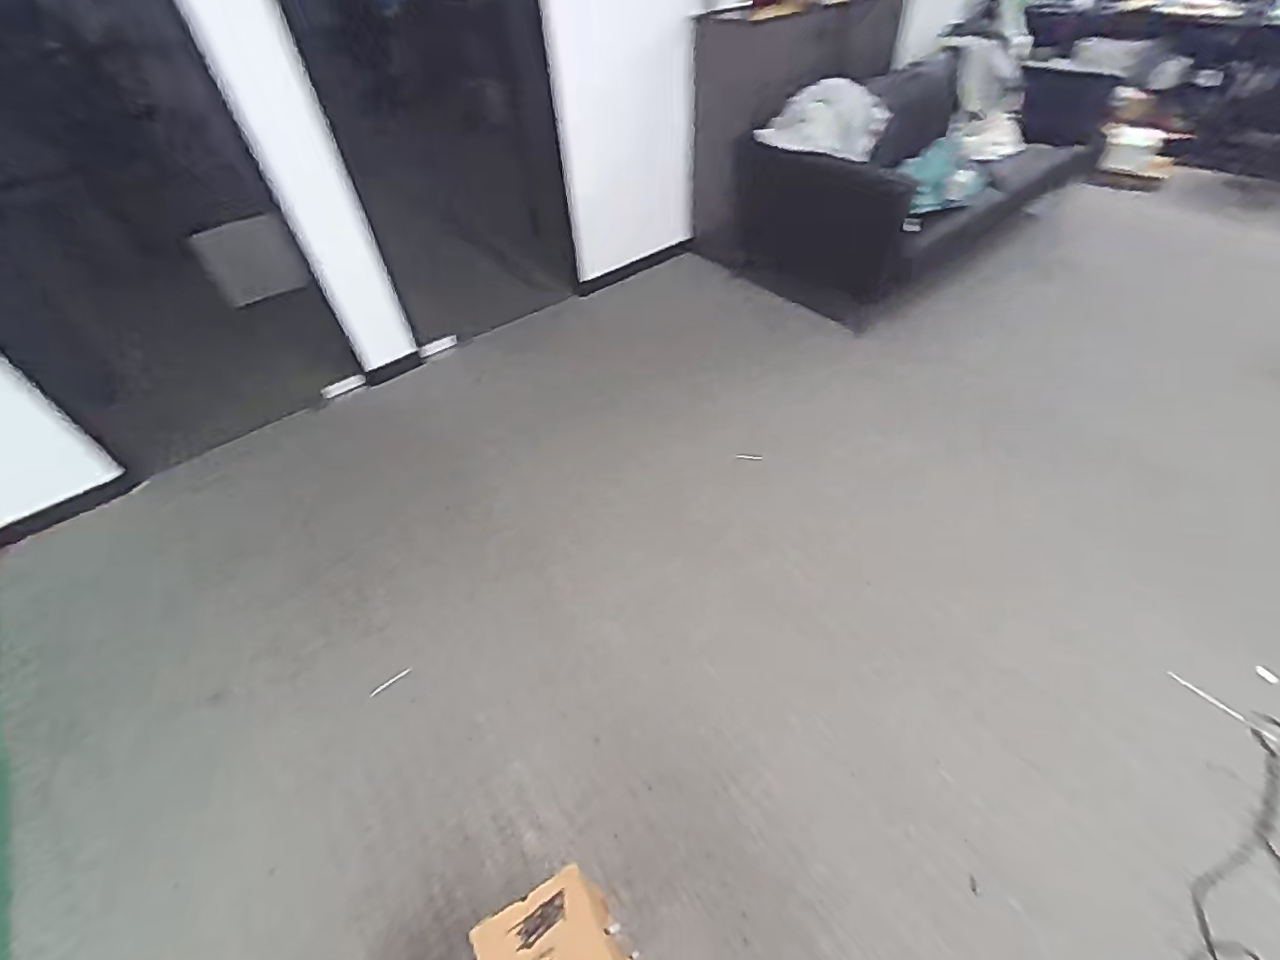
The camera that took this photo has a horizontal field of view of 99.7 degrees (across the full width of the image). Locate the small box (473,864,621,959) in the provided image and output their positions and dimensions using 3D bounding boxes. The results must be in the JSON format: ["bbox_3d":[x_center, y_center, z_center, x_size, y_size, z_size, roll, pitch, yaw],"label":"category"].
[{"bbox_3d":[-0.122,0.712,0.792,0.168,0.176,0.179,-24,51,-18],"label":"small box"}]

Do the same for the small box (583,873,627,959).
[{"bbox_3d":[-0.118,0.819,0.917,0.168,0.176,0.179,-26,51,-19],"label":"small box"}]
